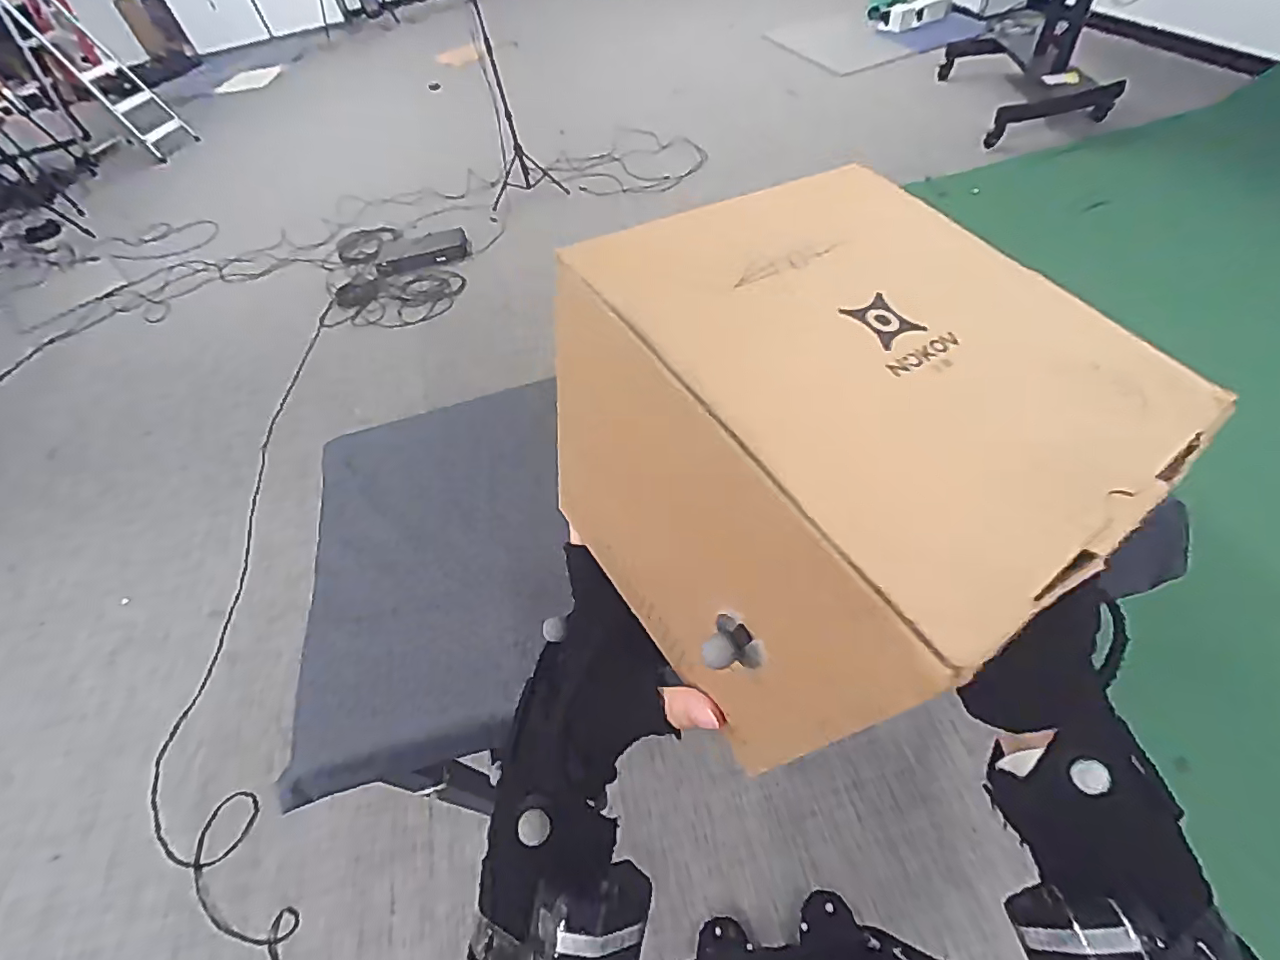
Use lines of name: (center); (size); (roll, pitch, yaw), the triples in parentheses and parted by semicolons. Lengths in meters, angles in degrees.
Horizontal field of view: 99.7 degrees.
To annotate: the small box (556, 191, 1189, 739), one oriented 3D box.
small box: (0.074, -0.002, 0.261); (0.168, 0.176, 0.179); (-27, 61, -25)
